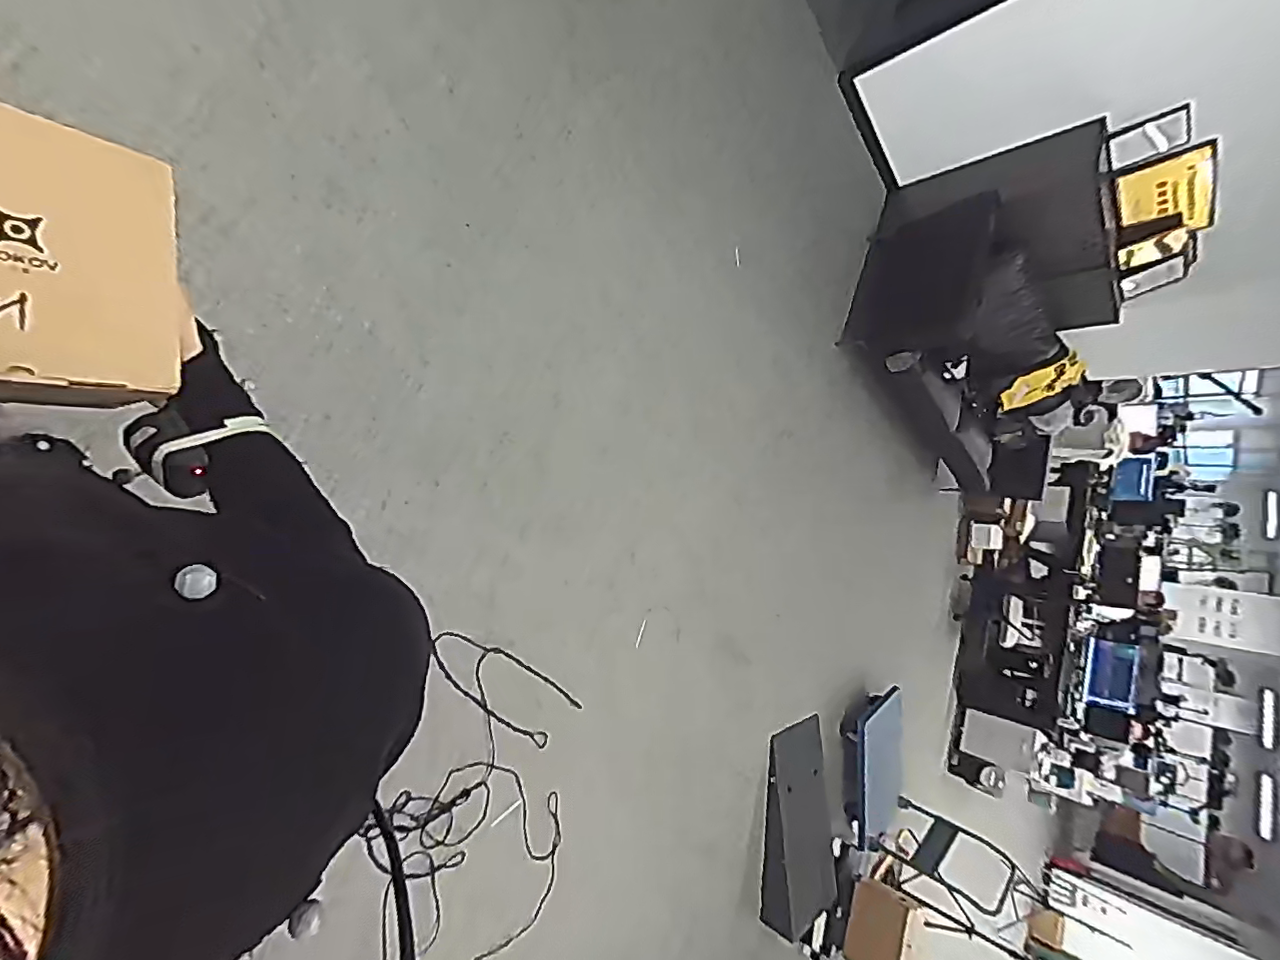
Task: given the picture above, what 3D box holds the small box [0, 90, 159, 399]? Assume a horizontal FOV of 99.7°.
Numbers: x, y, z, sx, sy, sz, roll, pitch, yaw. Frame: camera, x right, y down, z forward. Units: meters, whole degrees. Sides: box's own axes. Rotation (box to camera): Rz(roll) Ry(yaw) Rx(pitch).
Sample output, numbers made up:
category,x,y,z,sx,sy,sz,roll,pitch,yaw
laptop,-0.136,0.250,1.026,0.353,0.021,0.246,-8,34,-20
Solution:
category,x,y,z,sx,sy,sz,roll,pitch,yaw
small box,-0.471,-0.158,0.374,0.168,0.176,0.179,-2,92,-58
